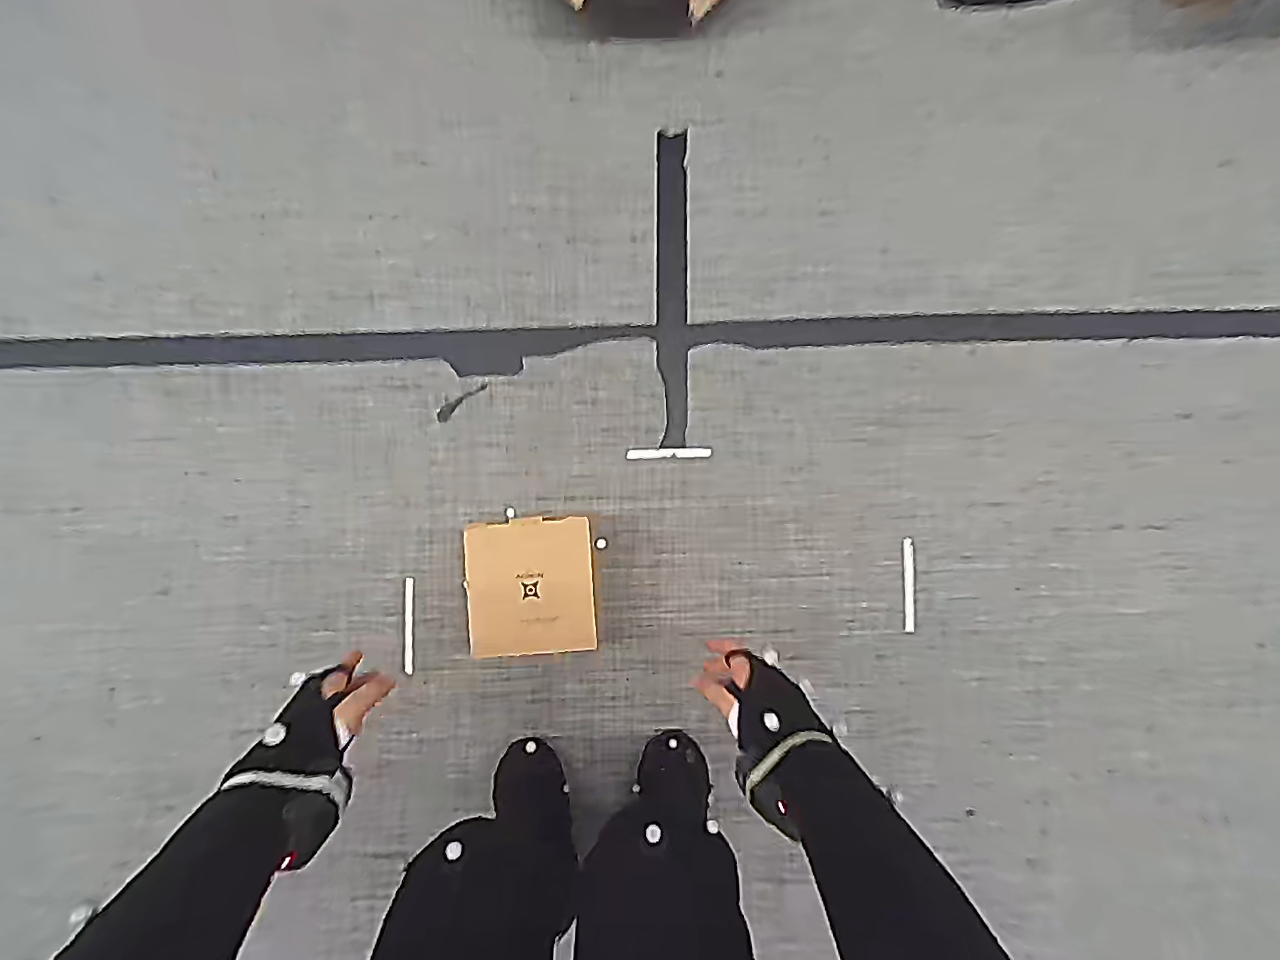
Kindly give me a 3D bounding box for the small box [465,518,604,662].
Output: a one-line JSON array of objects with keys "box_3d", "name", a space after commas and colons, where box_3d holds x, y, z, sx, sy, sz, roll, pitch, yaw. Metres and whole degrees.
[{"box_3d": [-0.142, 0.147, 0.783, 0.168, 0.176, 0.179, -5, 89, 0], "name": "small box"}]
